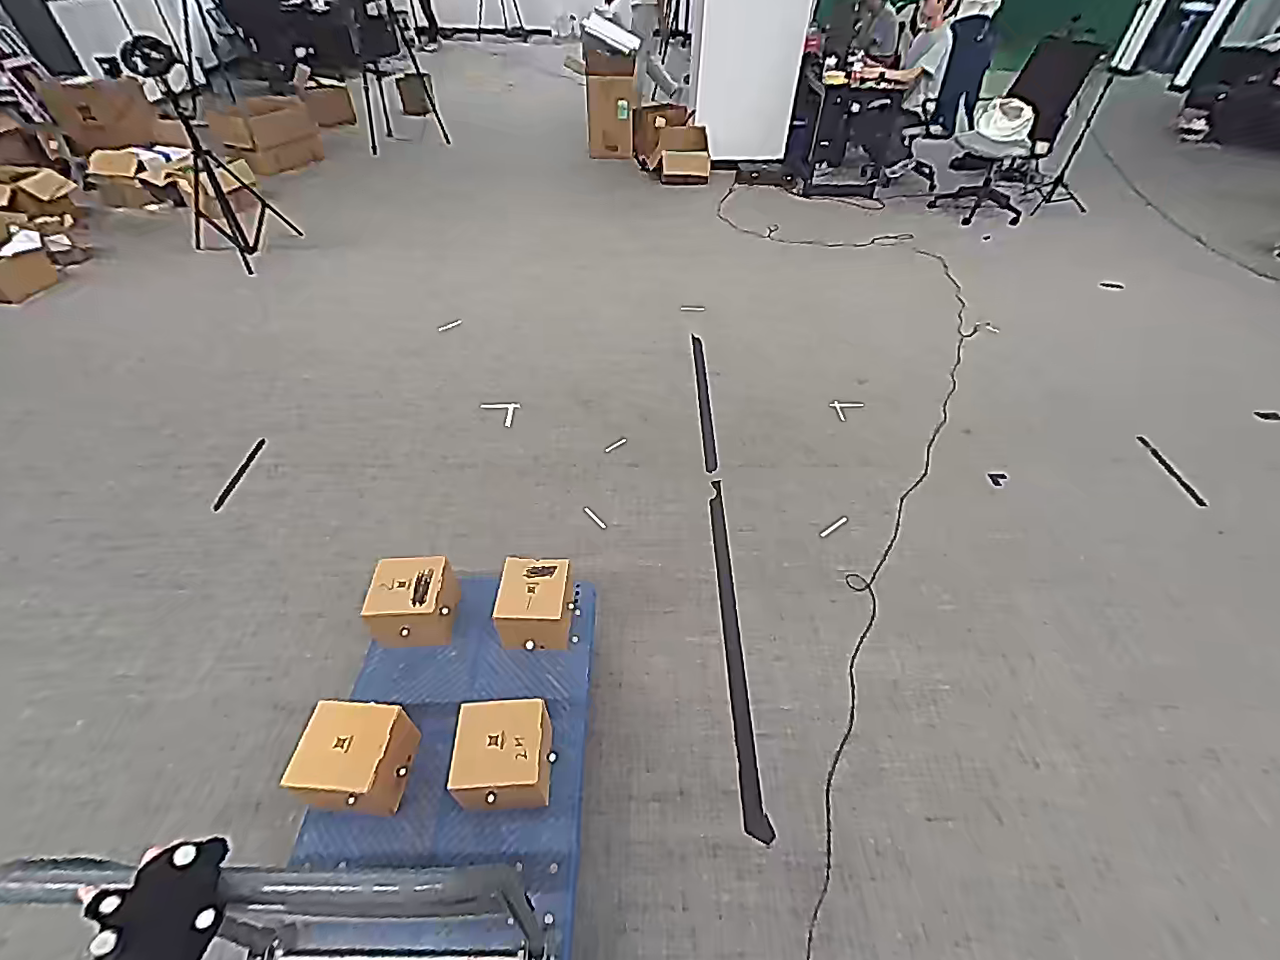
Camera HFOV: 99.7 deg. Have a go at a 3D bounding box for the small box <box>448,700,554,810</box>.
[{"bbox_3d":[-0.283,0.582,1.142,0.179,0.176,0.168,-2,46,-2],"label":"small box"}]

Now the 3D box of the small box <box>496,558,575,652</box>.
[{"bbox_3d":[-0.261,0.323,1.398,0.168,0.176,0.179,2,47,1],"label":"small box"}]

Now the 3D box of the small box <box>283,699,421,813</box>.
[{"bbox_3d":[-0.592,0.583,1.138,0.179,0.176,0.168,4,45,1],"label":"small box"}]
